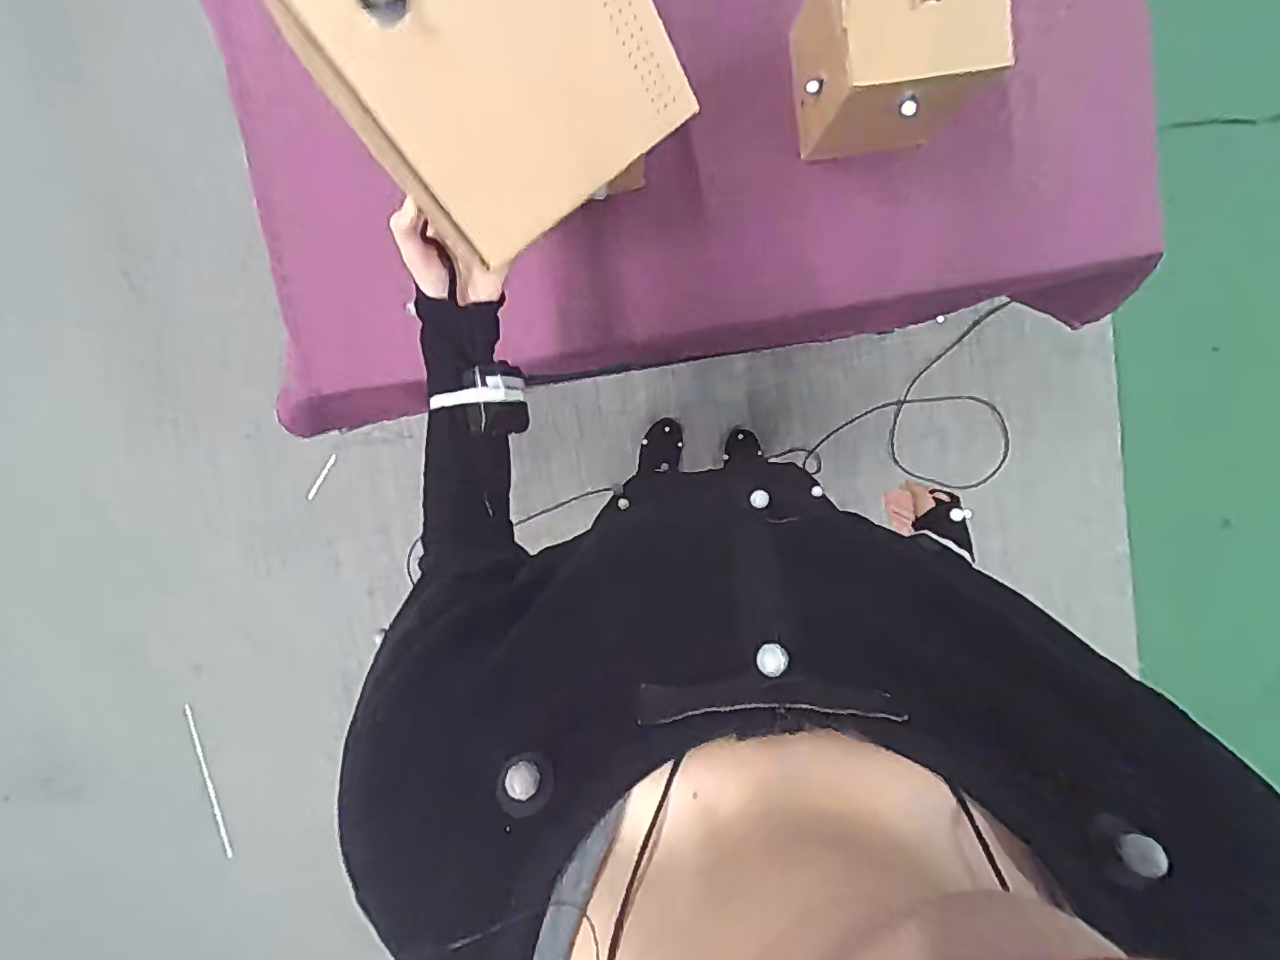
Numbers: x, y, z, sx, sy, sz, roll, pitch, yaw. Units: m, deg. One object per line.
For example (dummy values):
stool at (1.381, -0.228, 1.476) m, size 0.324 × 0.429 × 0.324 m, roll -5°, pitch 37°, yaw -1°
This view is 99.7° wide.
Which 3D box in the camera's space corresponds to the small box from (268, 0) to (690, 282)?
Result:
small box at (-0.099, -0.262, 0.354) m, size 0.176 × 0.168 × 0.179 m, roll -39°, pitch 123°, yaw -1°

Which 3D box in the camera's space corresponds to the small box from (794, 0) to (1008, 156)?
small box at (0.292, -0.513, 0.642) m, size 0.179 × 0.176 × 0.168 m, roll -8°, pitch 97°, yaw 0°
